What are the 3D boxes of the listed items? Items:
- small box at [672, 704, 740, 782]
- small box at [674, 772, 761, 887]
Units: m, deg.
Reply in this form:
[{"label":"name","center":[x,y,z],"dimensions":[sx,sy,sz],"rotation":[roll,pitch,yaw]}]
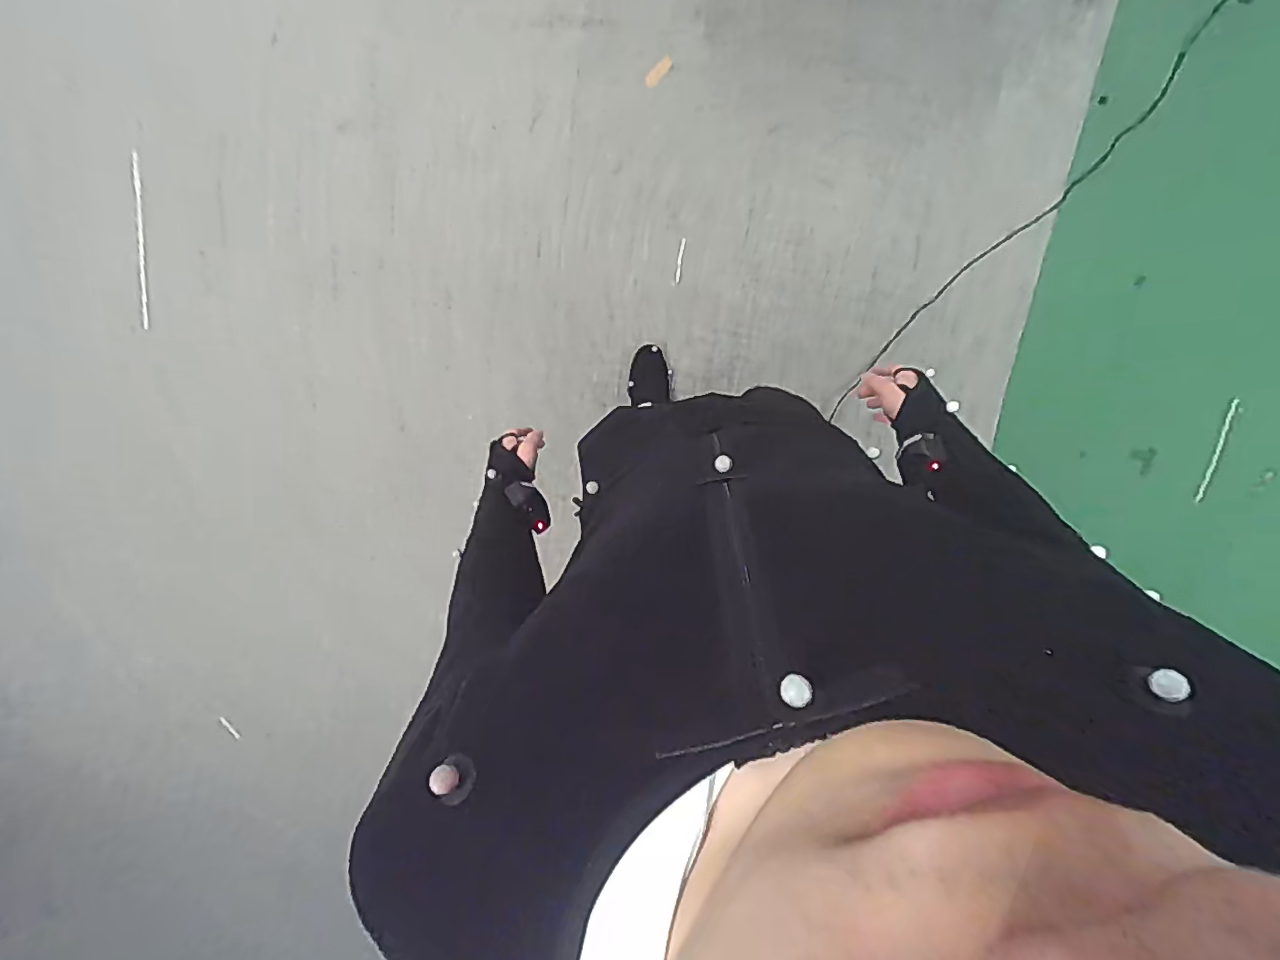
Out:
[{"label":"small box","center":[0.205,0.844,1.722],"dimensions":[0.179,0.176,0.168],"rotation":[13,102,0]},{"label":"small box","center":[0.193,0.894,1.399],"dimensions":[0.179,0.176,0.168],"rotation":[15,101,-1]}]
